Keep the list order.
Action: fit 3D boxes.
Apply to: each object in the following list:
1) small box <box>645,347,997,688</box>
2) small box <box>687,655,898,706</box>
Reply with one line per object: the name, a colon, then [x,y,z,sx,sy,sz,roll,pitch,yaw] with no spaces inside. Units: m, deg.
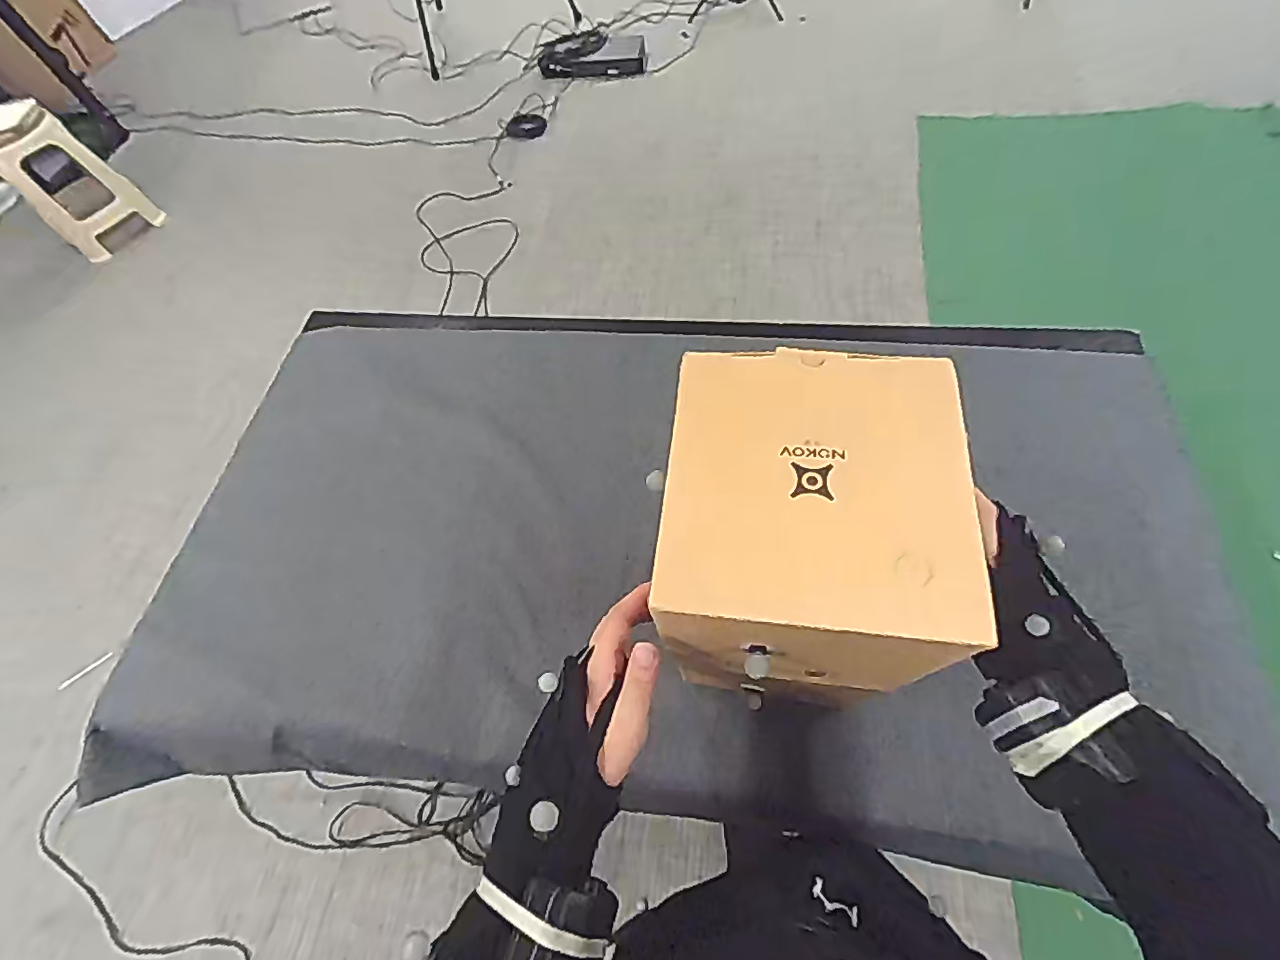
small box: [0.106,0.033,0.365,0.168,0.176,0.179,4,61,11]
small box: [0.132,0.102,0.510,0.168,0.176,0.179,5,64,11]
